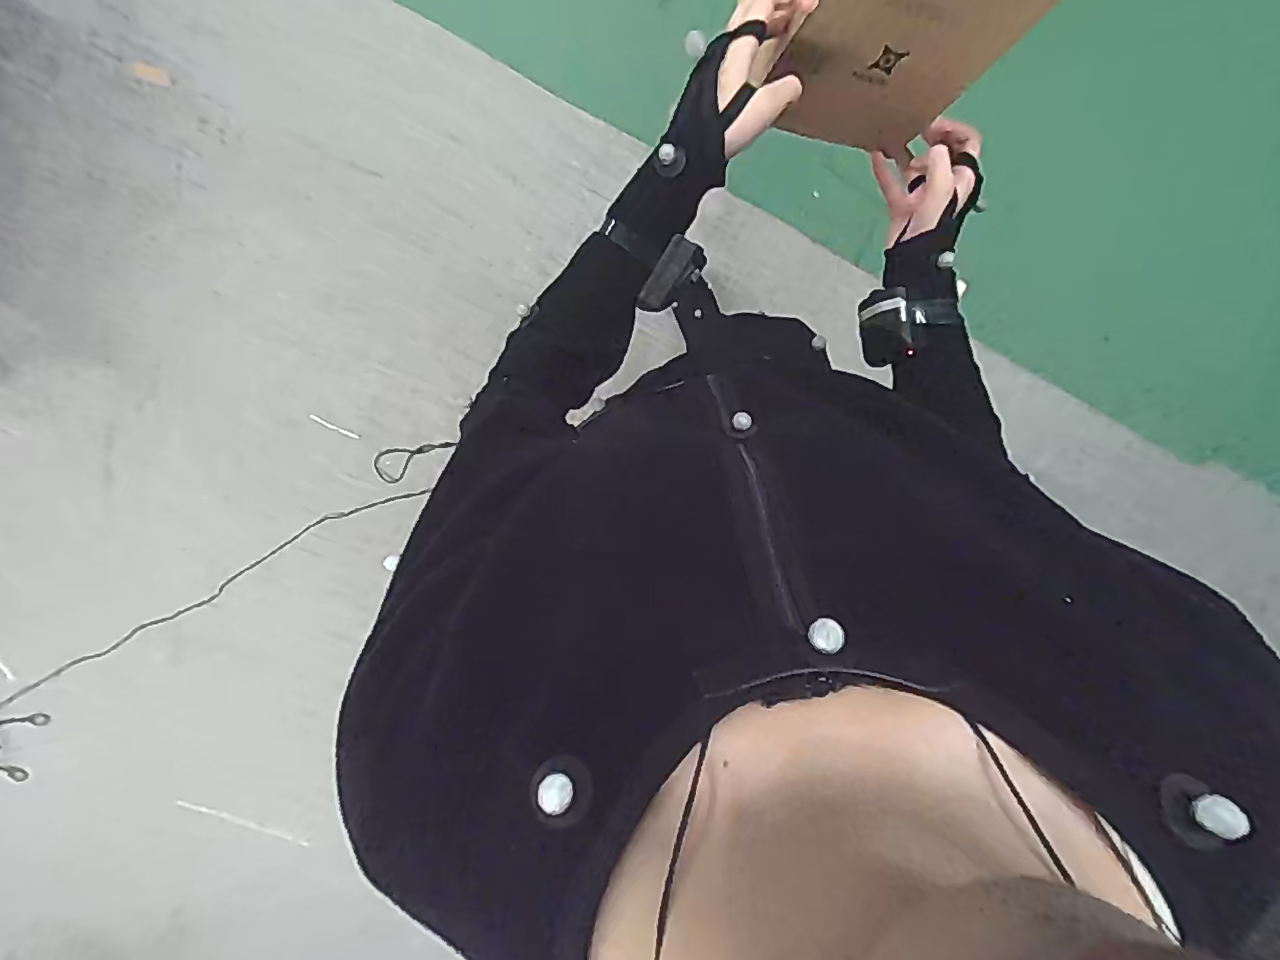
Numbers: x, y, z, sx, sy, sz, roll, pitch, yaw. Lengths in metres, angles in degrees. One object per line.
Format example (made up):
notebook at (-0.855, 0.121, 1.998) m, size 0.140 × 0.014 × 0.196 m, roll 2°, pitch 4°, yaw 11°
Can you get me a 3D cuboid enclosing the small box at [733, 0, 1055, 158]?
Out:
small box at (0.186, -0.406, 0.430) m, size 0.168 × 0.179 × 0.176 m, roll 2°, pitch 84°, yaw -16°
